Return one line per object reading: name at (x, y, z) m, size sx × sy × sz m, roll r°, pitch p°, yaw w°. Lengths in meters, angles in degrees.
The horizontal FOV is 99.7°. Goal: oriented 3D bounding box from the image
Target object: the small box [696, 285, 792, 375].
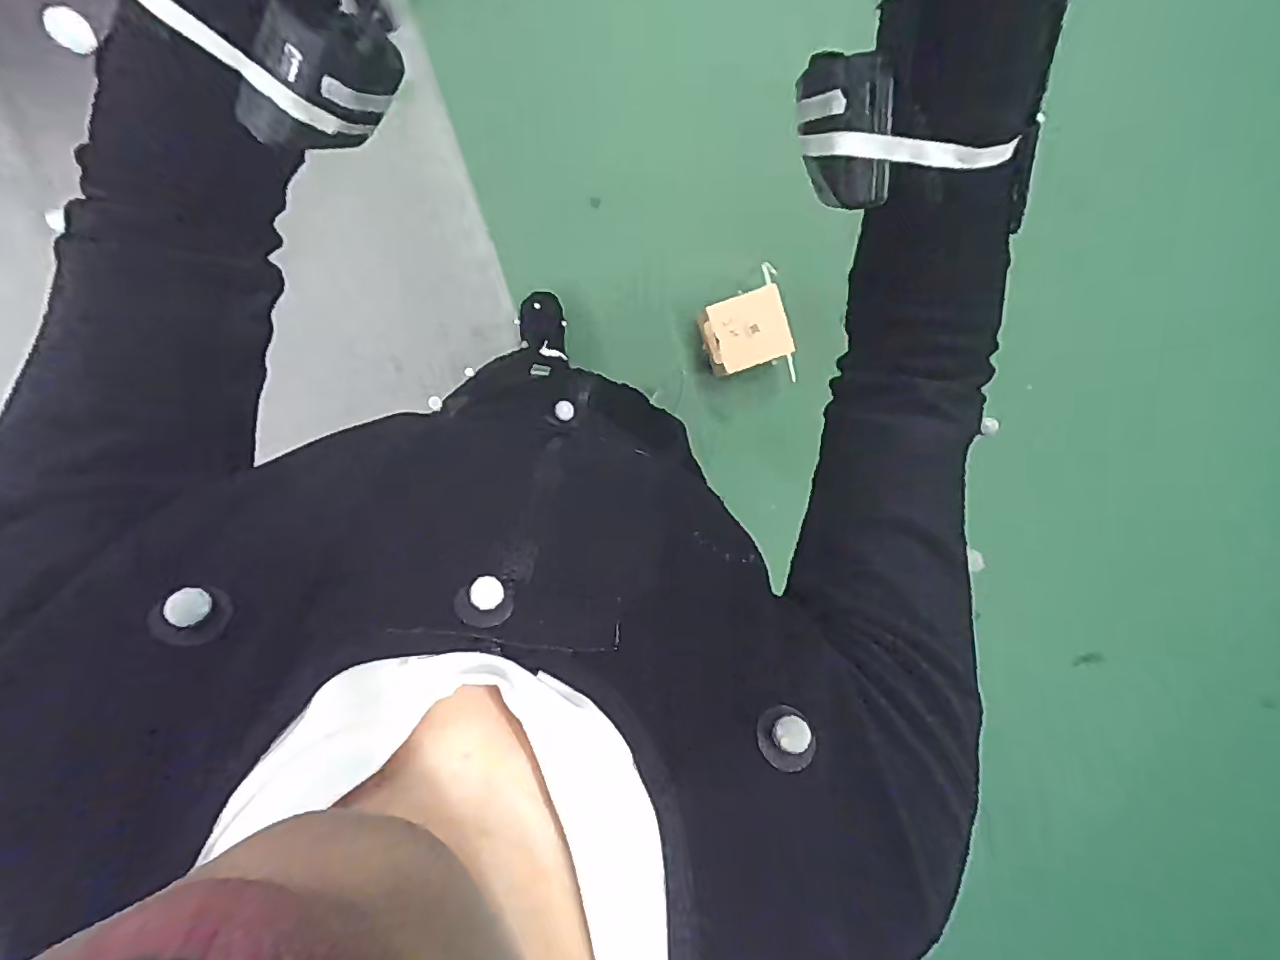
small box at (0.253, -0.368, 1.349) m, size 0.179 × 0.176 × 0.168 m, roll -18°, pitch 100°, yaw 1°
